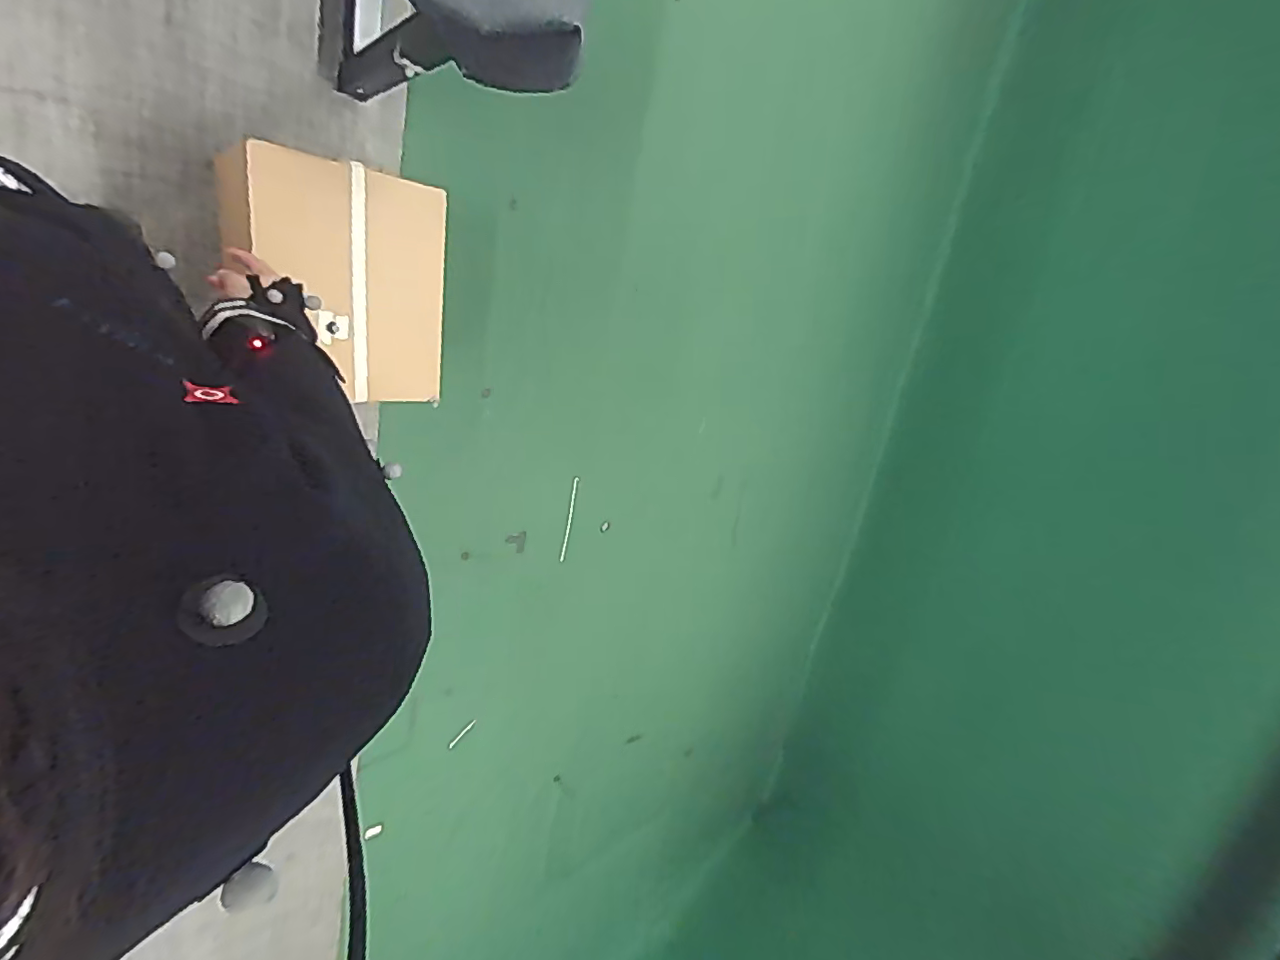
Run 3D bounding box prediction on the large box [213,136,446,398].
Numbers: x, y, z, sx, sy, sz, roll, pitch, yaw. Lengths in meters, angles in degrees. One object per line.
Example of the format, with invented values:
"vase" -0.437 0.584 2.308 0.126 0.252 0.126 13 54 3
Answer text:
"large box" -0.600 -0.394 1.058 0.320 0.320 0.408 -8 115 -43
